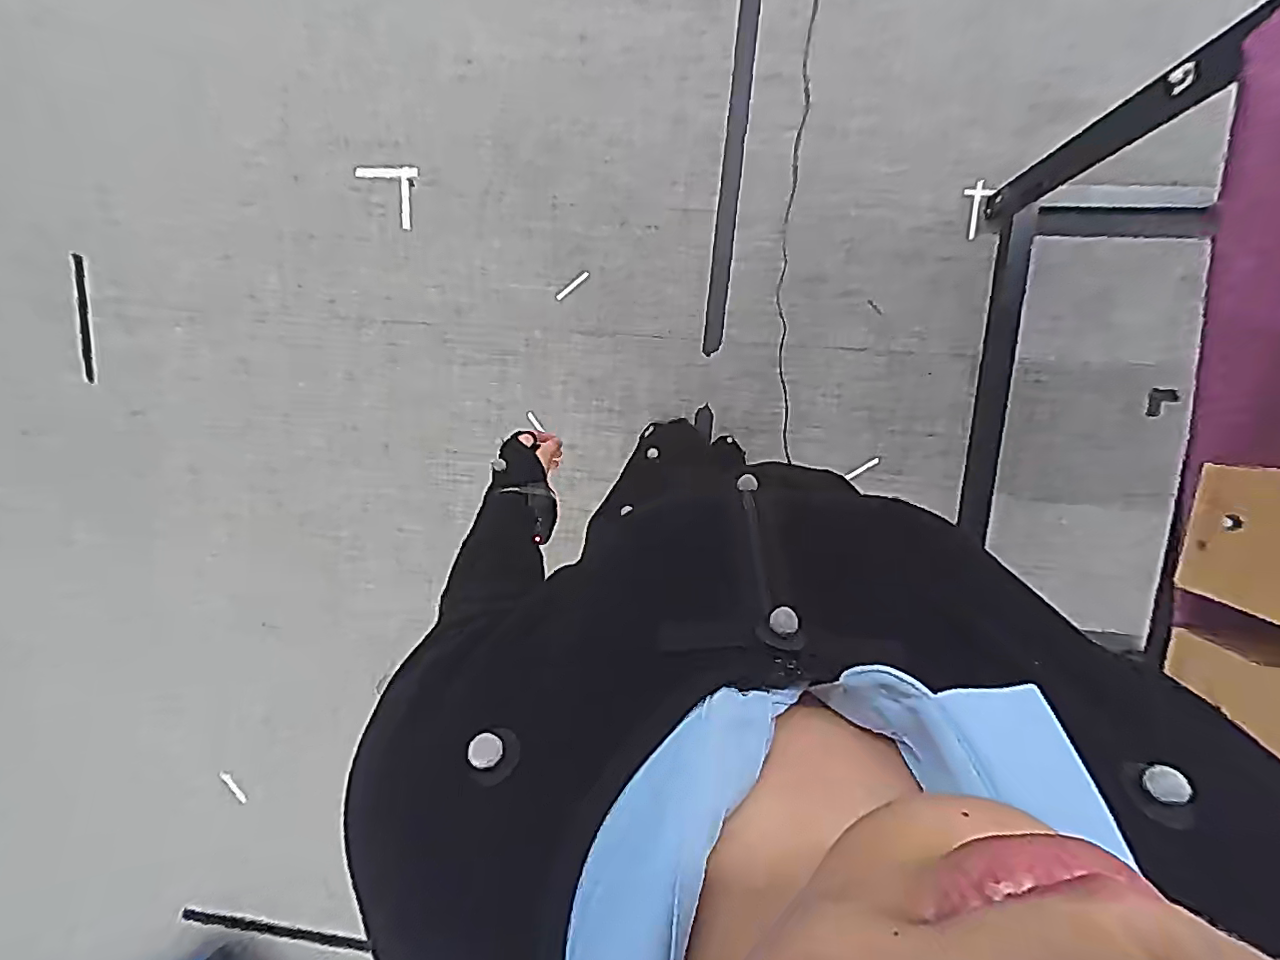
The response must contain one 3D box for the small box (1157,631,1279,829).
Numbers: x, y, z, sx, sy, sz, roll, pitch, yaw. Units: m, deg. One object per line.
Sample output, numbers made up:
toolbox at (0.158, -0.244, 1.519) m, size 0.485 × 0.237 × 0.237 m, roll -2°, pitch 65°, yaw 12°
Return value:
small box at (0.778, 0.292, 0.636) m, size 0.179 × 0.176 × 0.168 m, roll 5°, pitch 99°, yaw 4°
